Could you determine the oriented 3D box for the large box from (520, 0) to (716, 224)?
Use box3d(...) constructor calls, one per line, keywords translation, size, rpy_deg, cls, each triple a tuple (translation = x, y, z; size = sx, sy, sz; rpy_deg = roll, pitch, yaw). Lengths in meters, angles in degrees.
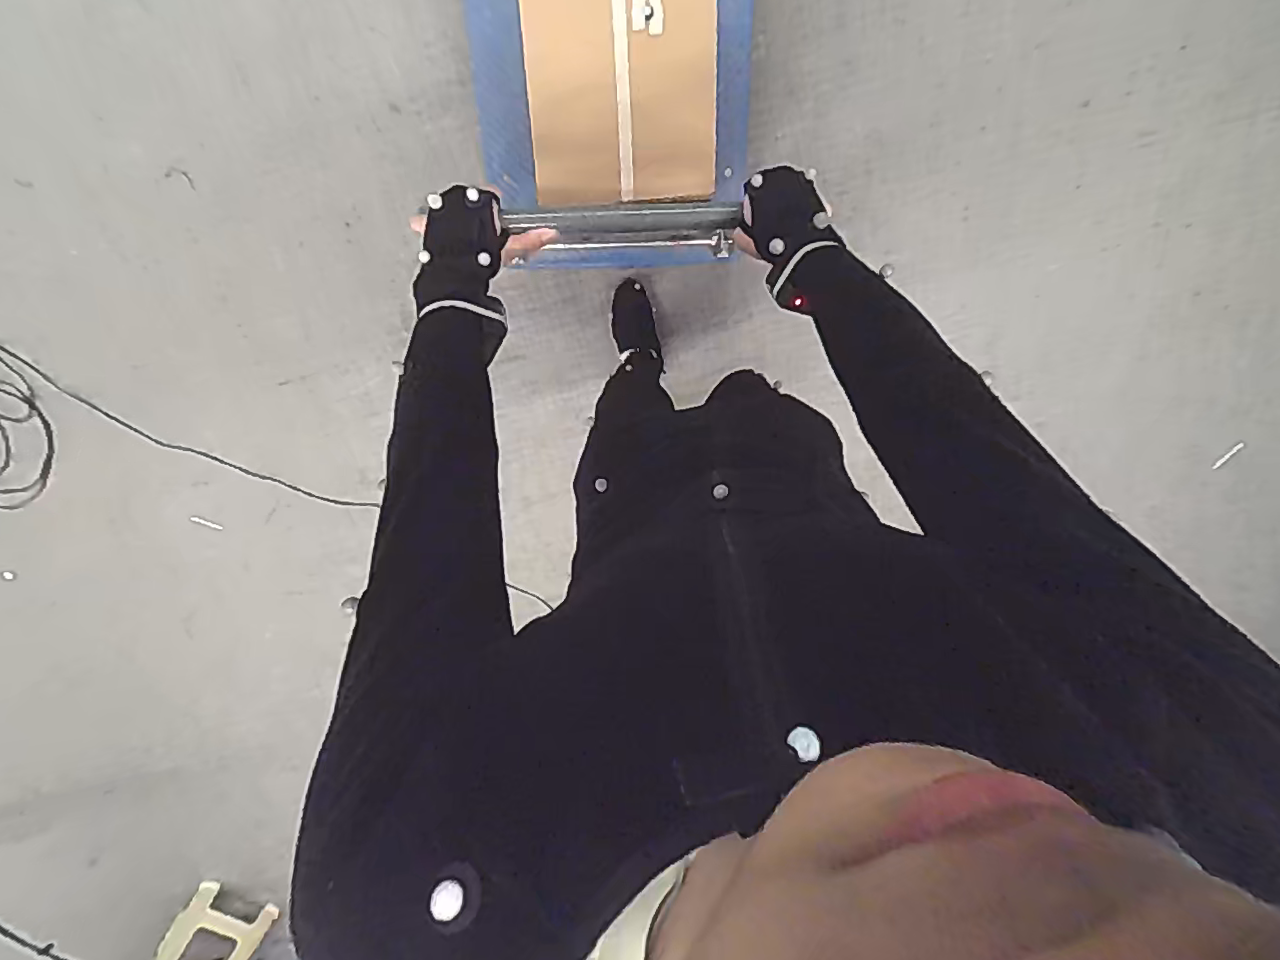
box3d(translation=(-0.032, -0.726, 1.024), size=(0.320, 0.320, 0.408), rpy_deg=(-2, 111, -1), cls="large box")
